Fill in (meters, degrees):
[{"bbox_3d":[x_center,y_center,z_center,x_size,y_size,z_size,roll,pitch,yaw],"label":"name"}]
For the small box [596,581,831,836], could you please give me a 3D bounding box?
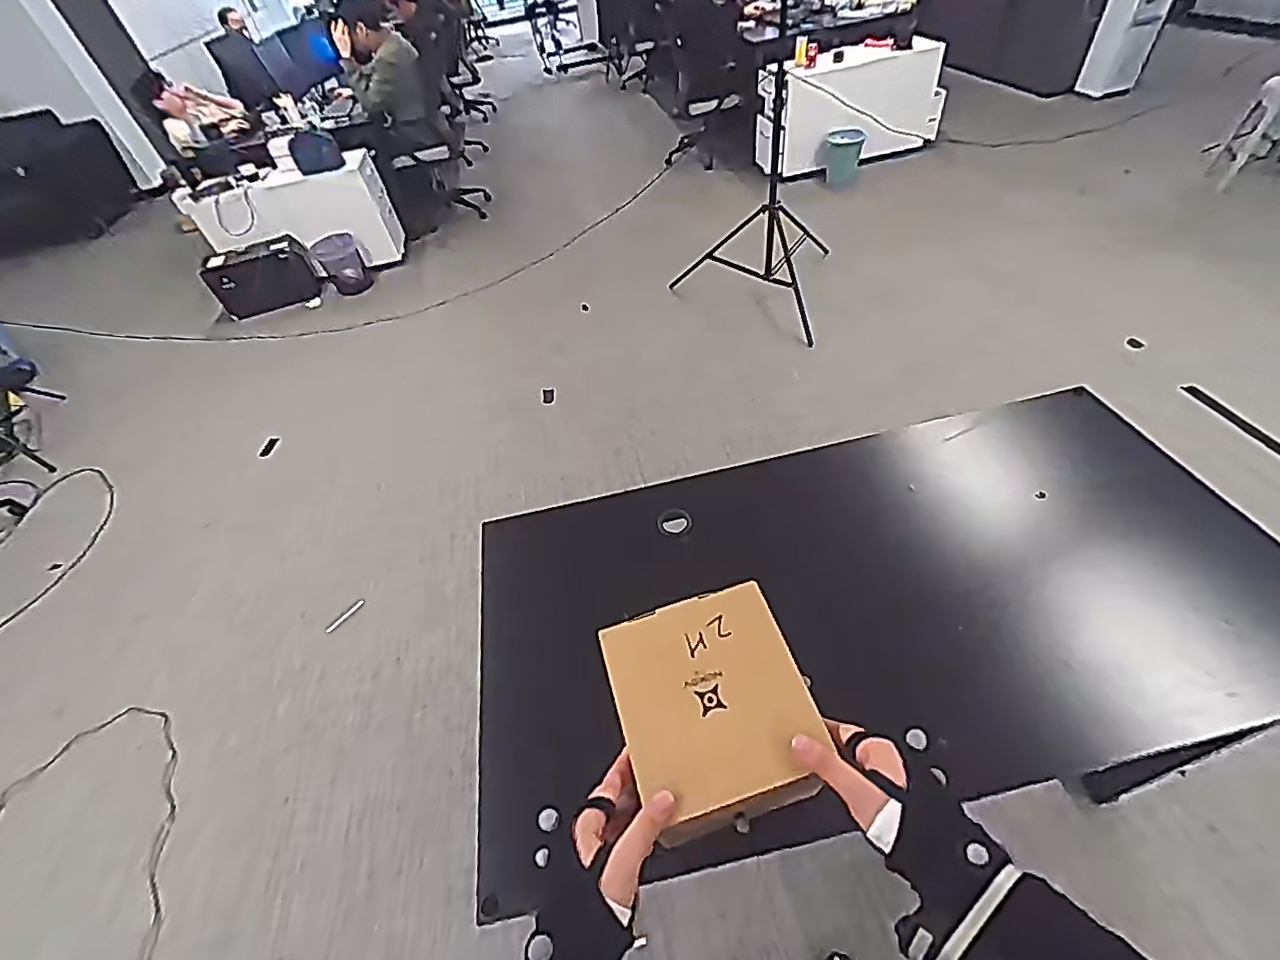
[{"bbox_3d":[0.068,0.236,0.544,0.168,0.176,0.179,-18,51,-4],"label":"small box"}]
